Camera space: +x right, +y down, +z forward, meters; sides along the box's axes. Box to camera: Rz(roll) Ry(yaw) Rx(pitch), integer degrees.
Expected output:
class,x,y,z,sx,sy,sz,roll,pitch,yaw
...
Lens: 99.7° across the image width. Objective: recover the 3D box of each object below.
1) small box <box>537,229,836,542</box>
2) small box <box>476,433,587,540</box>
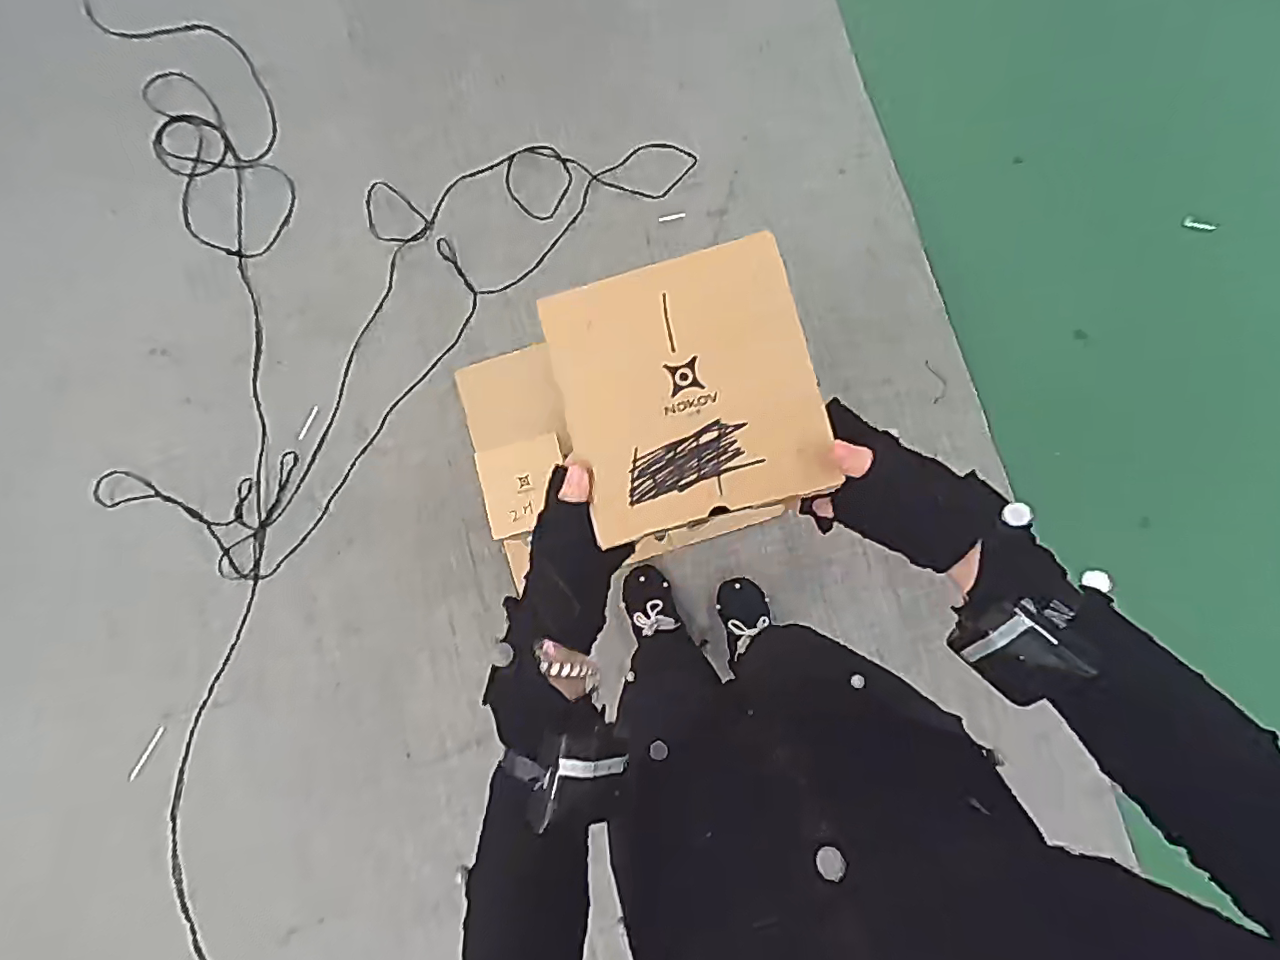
class,x,y,z,sx,sy,sz,roll,pitch,yaw
small box,0.036,-0.060,0.434,0.168,0.176,0.179,-15,87,5
small box,-0.214,0.020,1.106,0.168,0.176,0.179,-15,84,1
